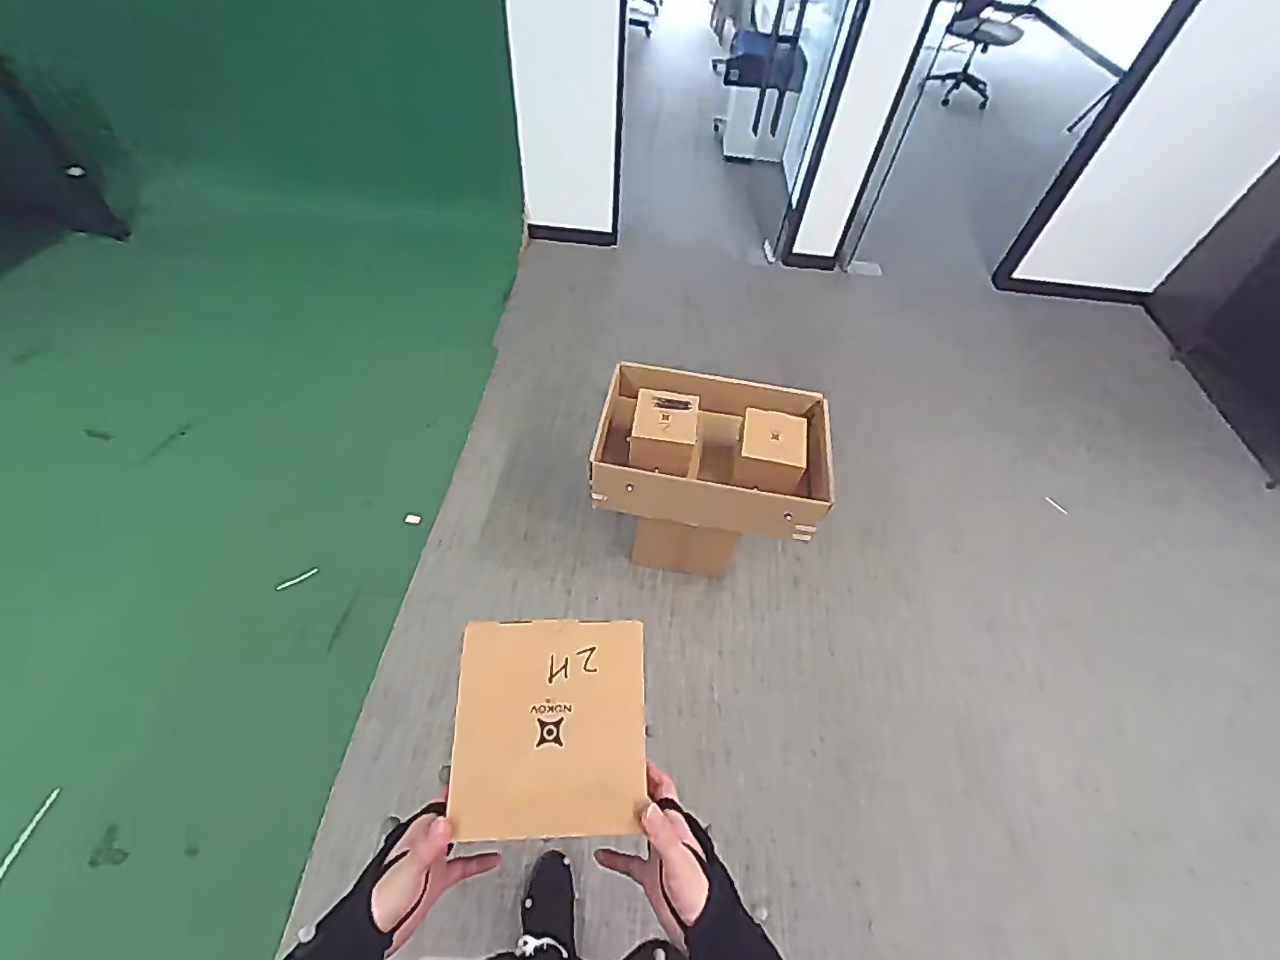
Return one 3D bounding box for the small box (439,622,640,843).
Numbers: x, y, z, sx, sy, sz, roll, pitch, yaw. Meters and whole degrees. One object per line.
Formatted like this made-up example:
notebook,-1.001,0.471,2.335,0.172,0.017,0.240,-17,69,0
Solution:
small box,-0.087,0.246,0.544,0.168,0.176,0.179,2,64,-5
